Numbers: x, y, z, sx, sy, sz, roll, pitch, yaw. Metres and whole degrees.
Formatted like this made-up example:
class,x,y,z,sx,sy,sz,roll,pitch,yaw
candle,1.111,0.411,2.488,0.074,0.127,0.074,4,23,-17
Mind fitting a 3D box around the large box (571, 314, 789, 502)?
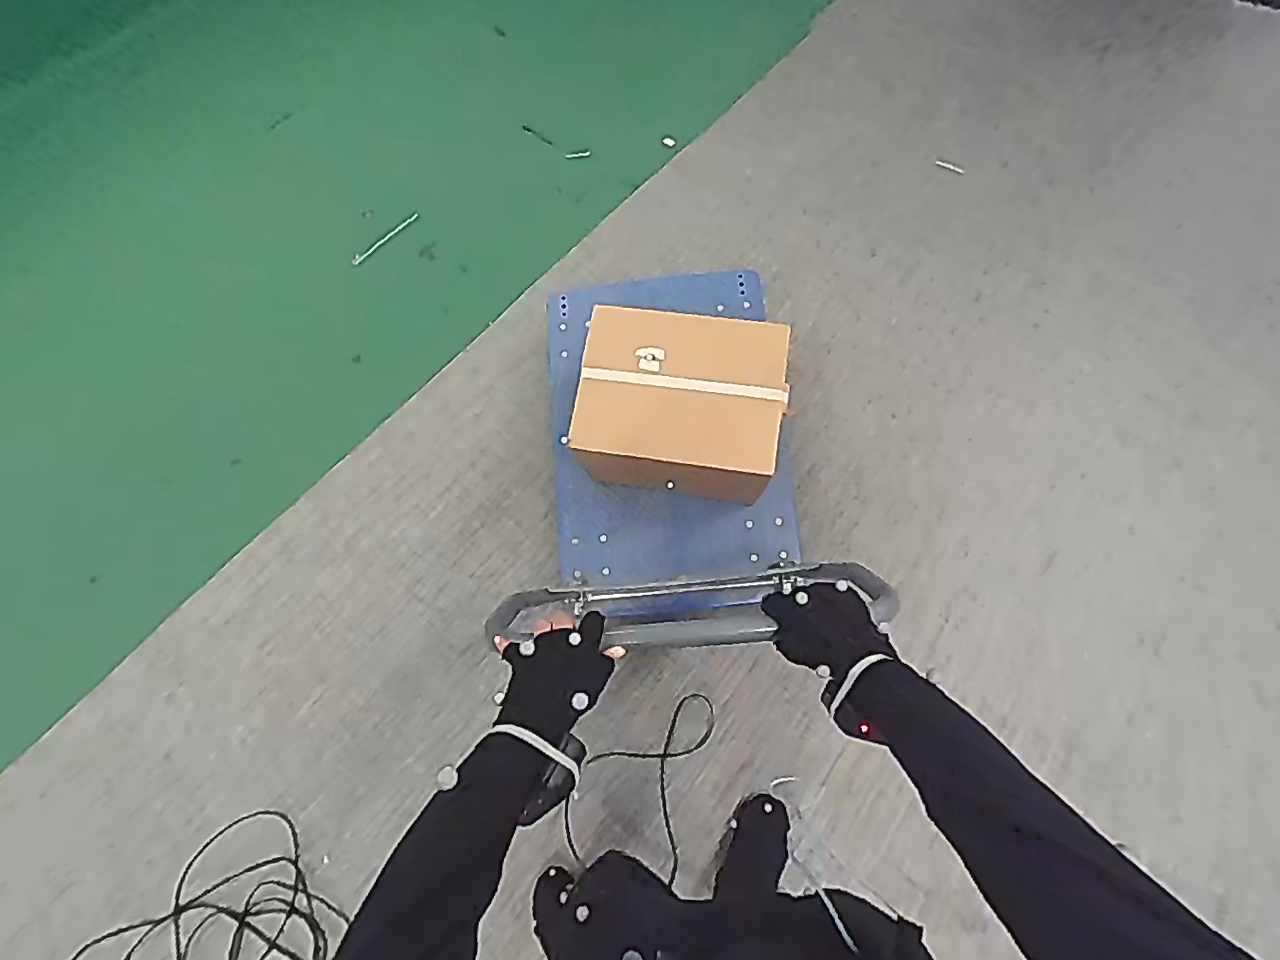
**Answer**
class,x,y,z,sx,sy,sz,roll,pitch,yaw
large box,0.097,-0.143,1.209,0.408,0.320,0.320,8,78,8
